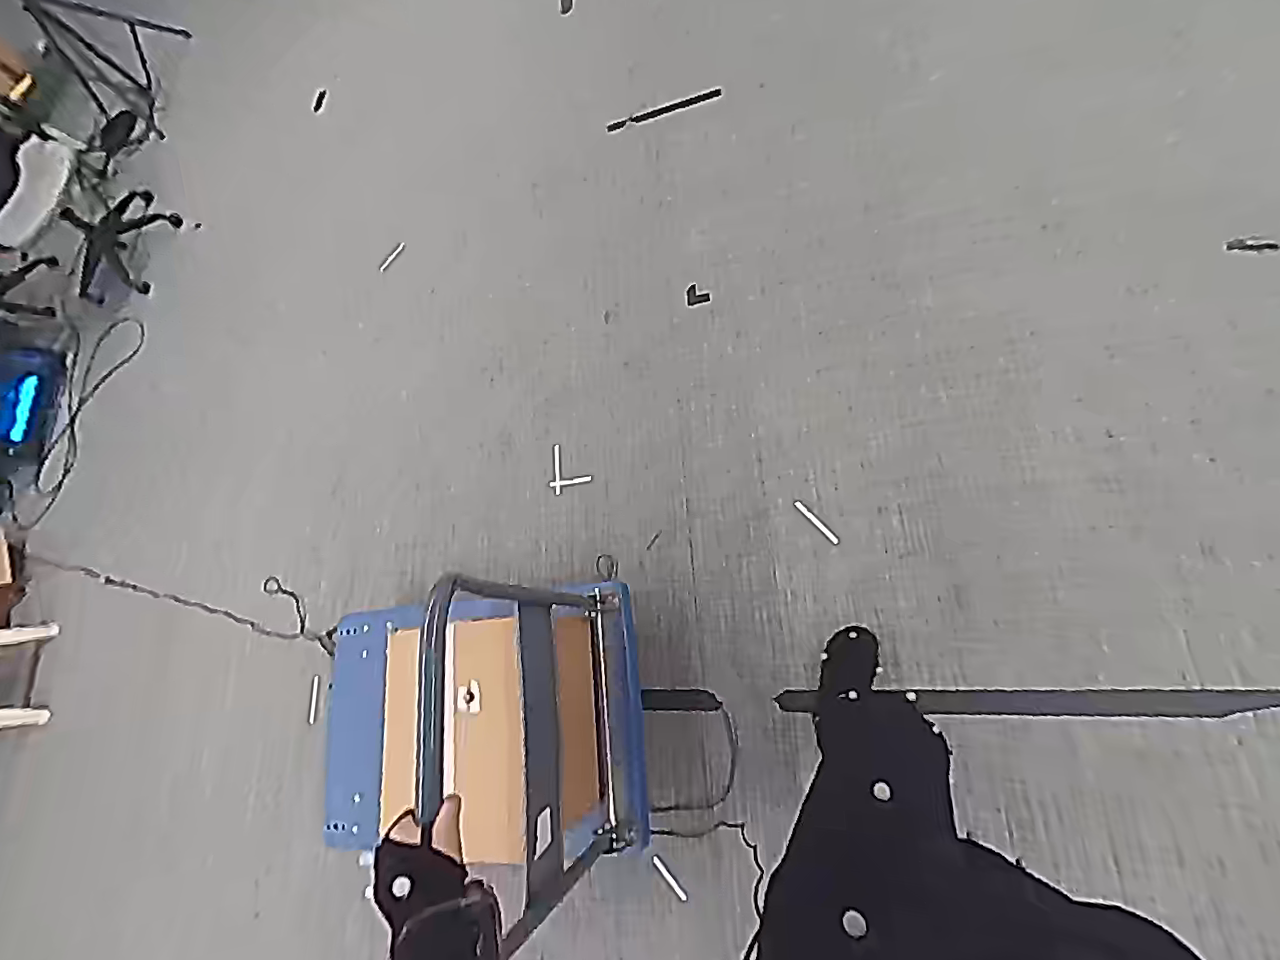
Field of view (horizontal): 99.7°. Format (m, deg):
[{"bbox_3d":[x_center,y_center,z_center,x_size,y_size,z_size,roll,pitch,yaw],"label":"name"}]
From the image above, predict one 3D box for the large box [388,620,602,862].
[{"bbox_3d":[-0.291,0.522,1.142,0.320,0.320,0.408,-11,72,16],"label":"large box"}]
